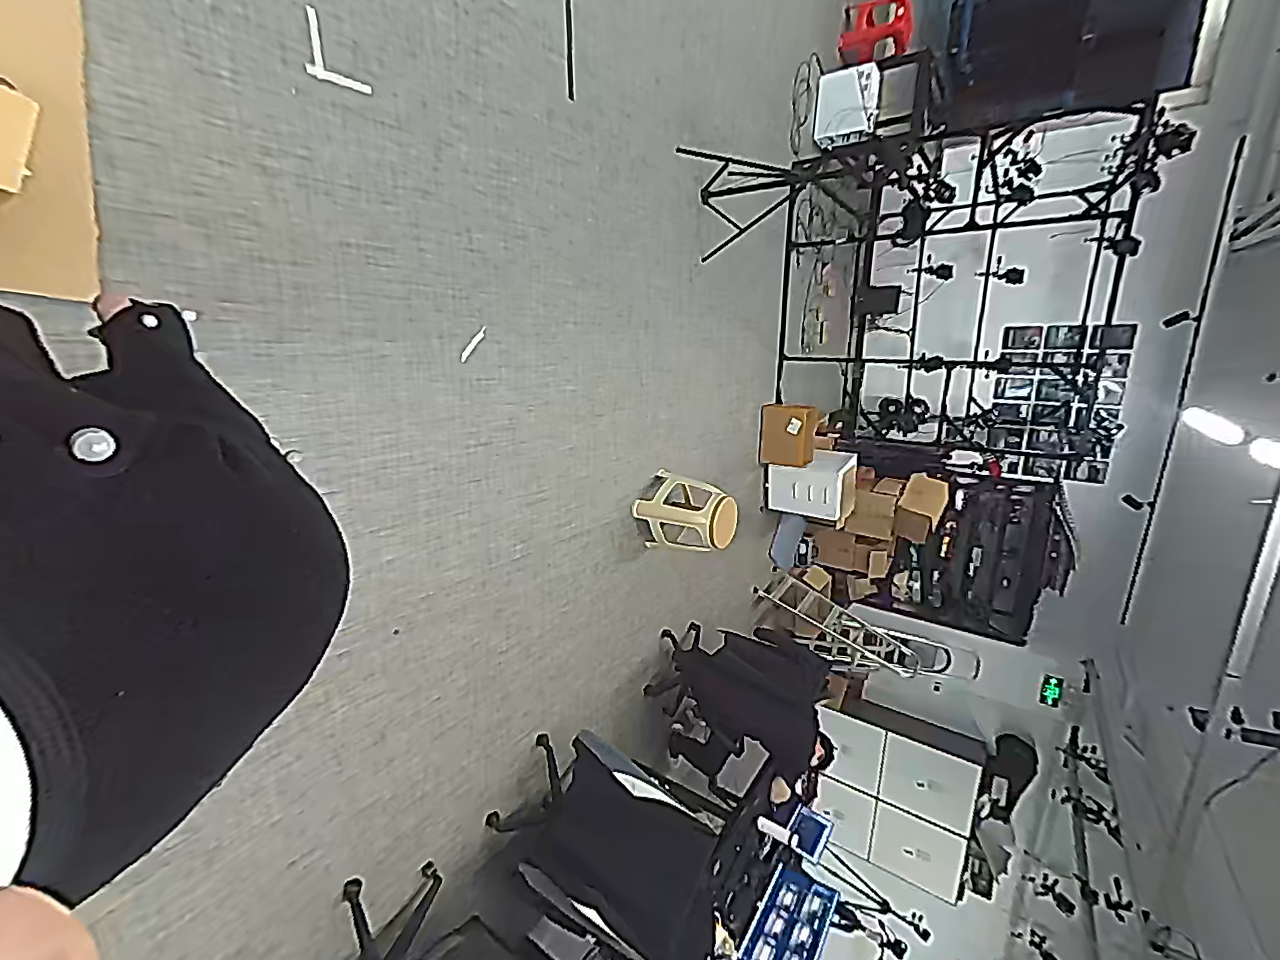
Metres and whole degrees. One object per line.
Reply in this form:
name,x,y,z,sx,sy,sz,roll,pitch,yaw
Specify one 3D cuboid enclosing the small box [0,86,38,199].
small box,-1.168,-0.594,0.903,0.179,0.176,0.168,14,87,-56
